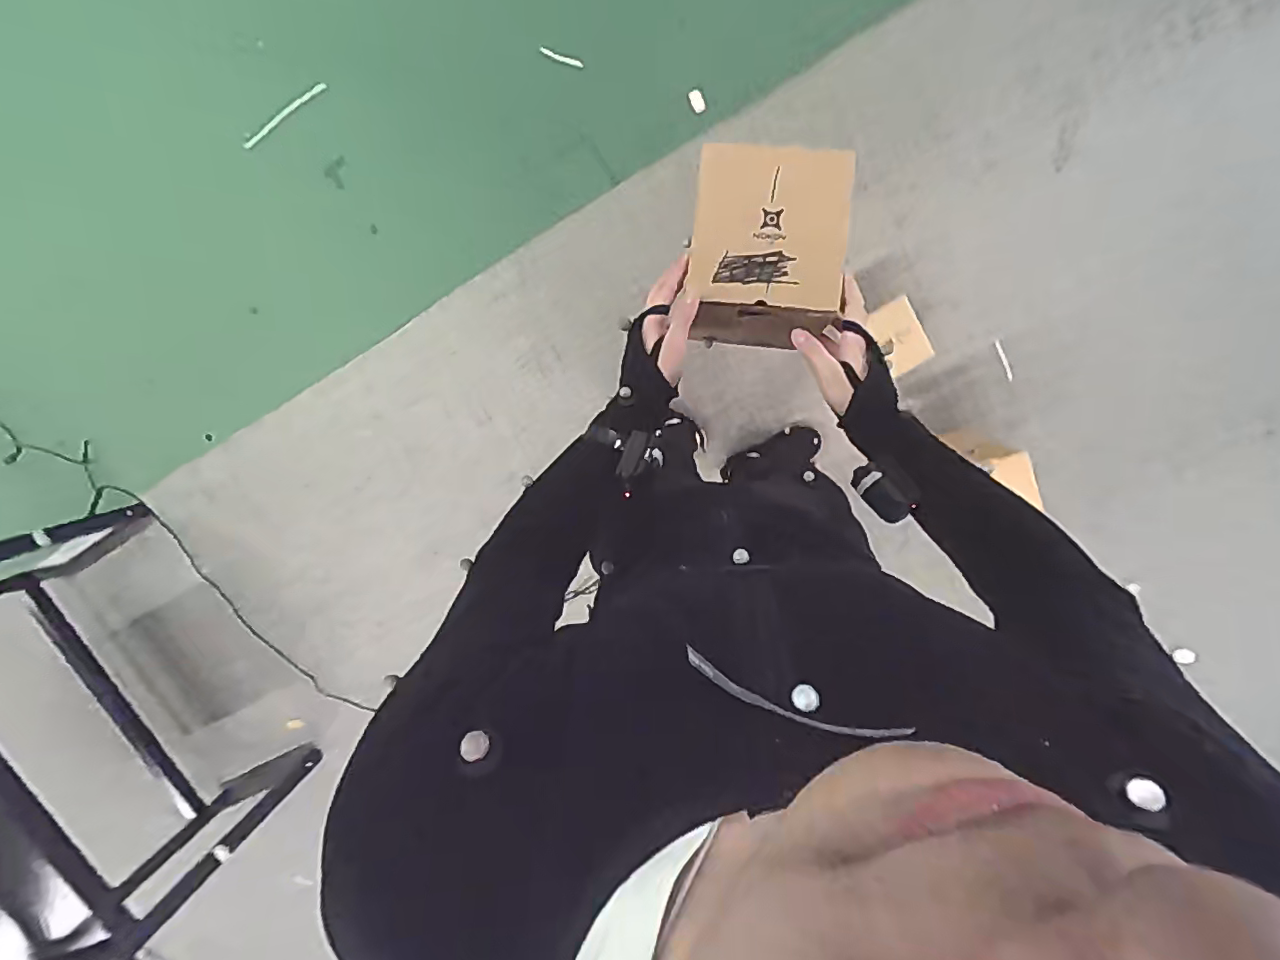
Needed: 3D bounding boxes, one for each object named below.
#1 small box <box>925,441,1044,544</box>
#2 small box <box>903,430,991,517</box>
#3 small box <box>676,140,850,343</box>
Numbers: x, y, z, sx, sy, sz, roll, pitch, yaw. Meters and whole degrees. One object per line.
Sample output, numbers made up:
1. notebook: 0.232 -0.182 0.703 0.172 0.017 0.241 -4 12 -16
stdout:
1. small box: 0.798 0.024 1.266 0.168 0.176 0.179 -19 99 13
2. small box: 0.811 -0.022 1.422 0.179 0.176 0.168 -17 101 14
3. small box: 0.139 -0.273 0.657 0.168 0.176 0.179 7 91 5
